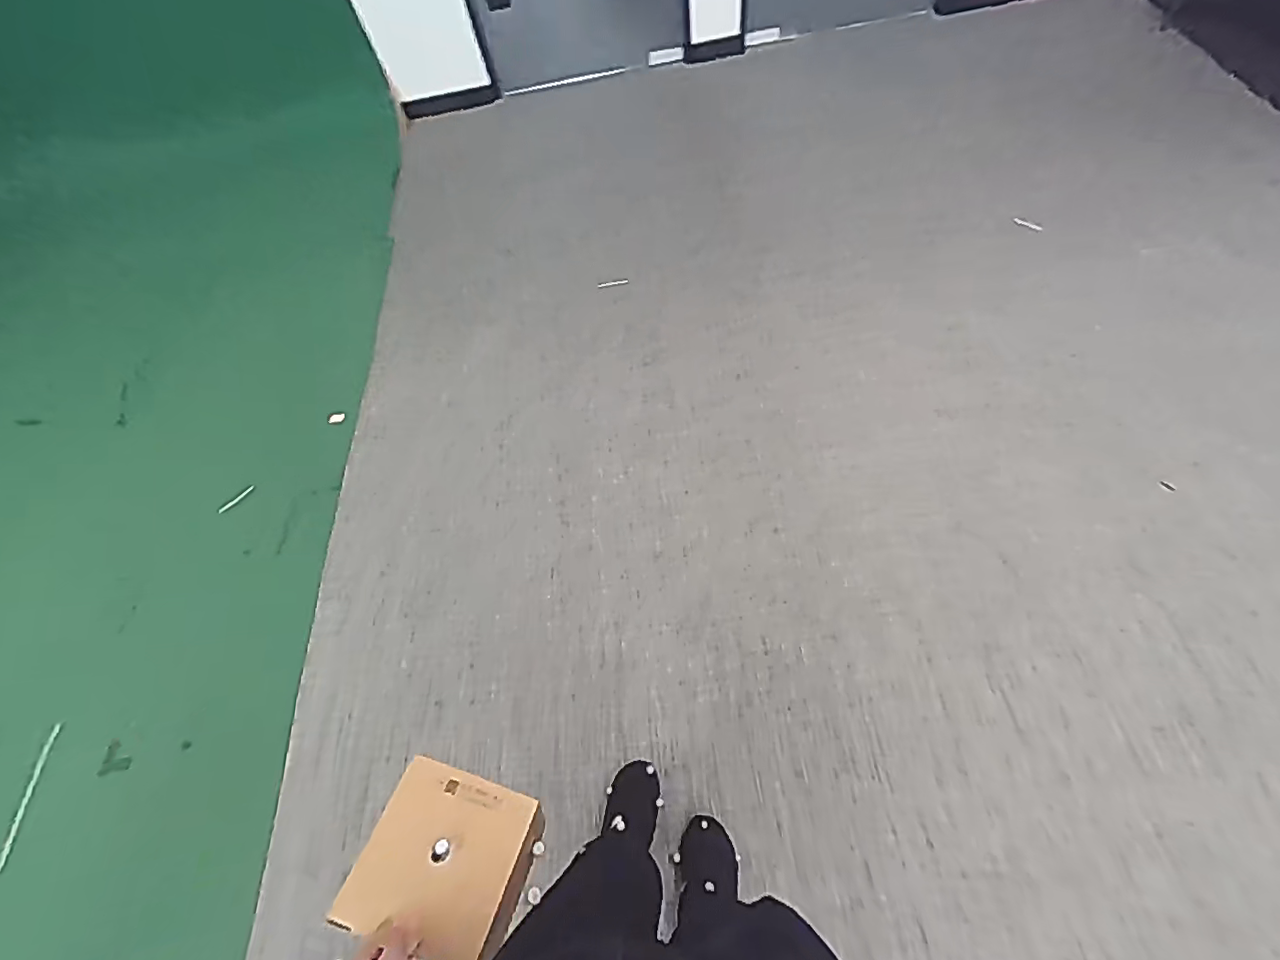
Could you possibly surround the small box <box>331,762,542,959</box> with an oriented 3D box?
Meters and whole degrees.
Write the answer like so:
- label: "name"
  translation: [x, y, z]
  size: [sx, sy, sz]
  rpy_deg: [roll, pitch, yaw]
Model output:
- label: "small box"
  translation: [-0.228, 0.472, 0.660]
  size: [0.168, 0.179, 0.176]
  rpy_deg: [17, 48, 7]
